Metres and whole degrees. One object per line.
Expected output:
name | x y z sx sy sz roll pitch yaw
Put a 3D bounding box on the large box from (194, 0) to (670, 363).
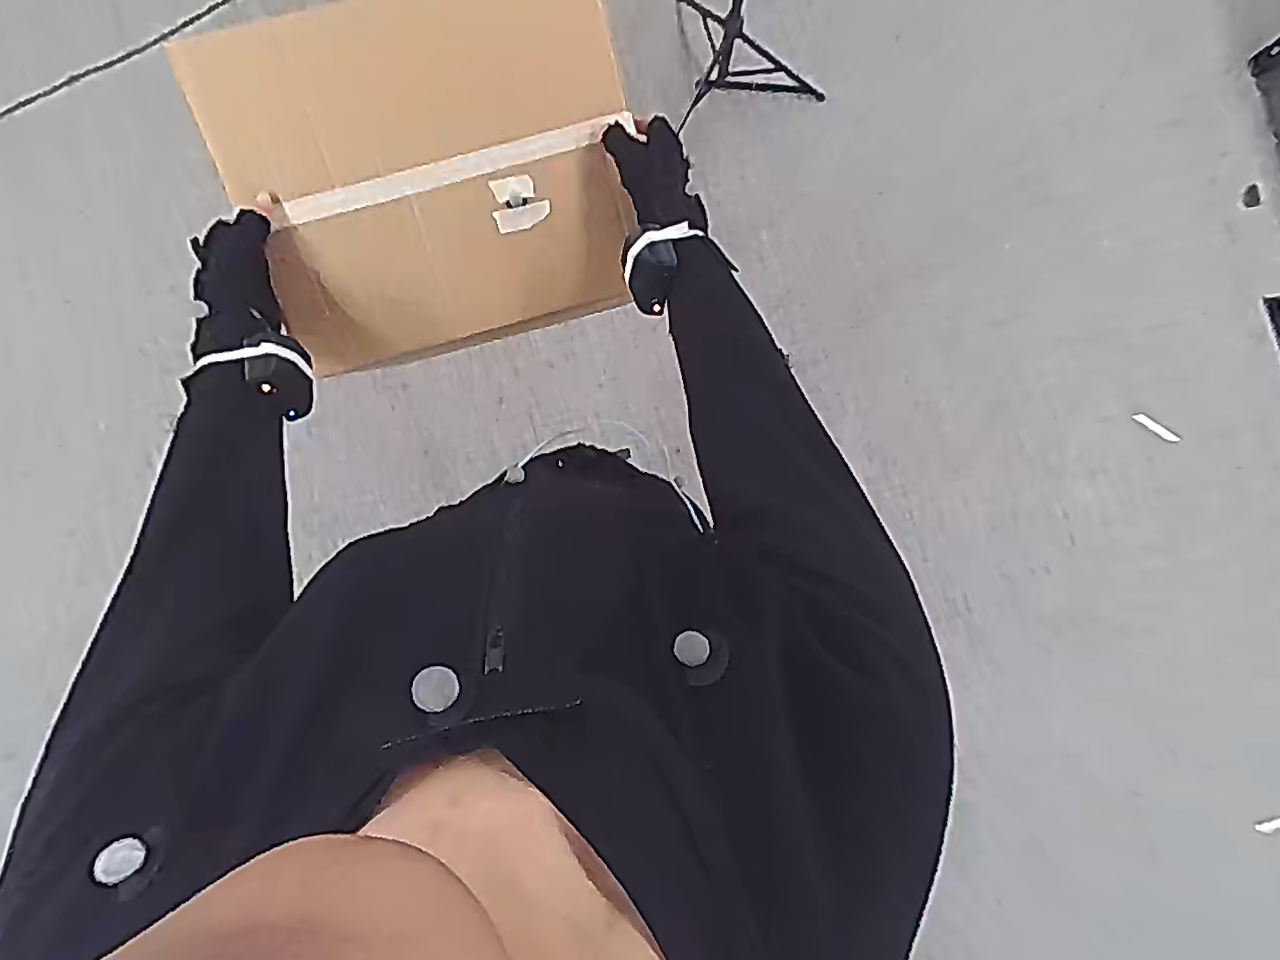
large box | -0.213 -0.357 0.698 0.408 0.320 0.320 -16 106 -3
